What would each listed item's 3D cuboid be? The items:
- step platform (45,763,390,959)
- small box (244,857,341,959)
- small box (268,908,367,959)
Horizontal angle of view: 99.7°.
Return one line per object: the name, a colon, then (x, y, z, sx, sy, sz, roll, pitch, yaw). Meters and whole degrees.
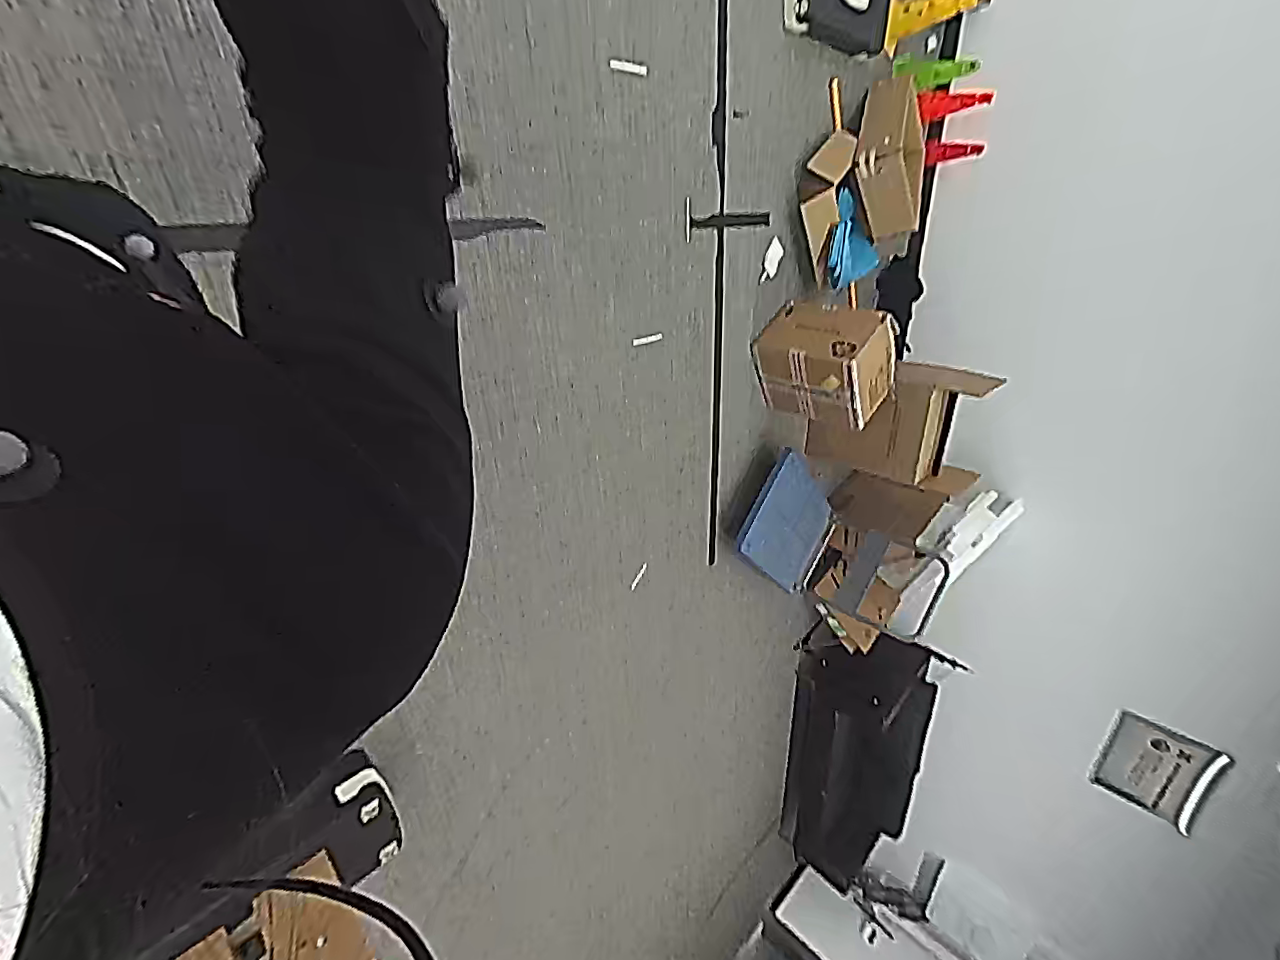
step platform: (-1.017, 1.080, 1.391, 0.684, 0.204, 0.286, -27, 126, -40)
small box: (-0.835, 1.086, 1.327, 0.168, 0.176, 0.179, -25, 124, -41)
small box: (-0.715, 1.135, 1.226, 0.168, 0.176, 0.179, -25, 124, -40)
